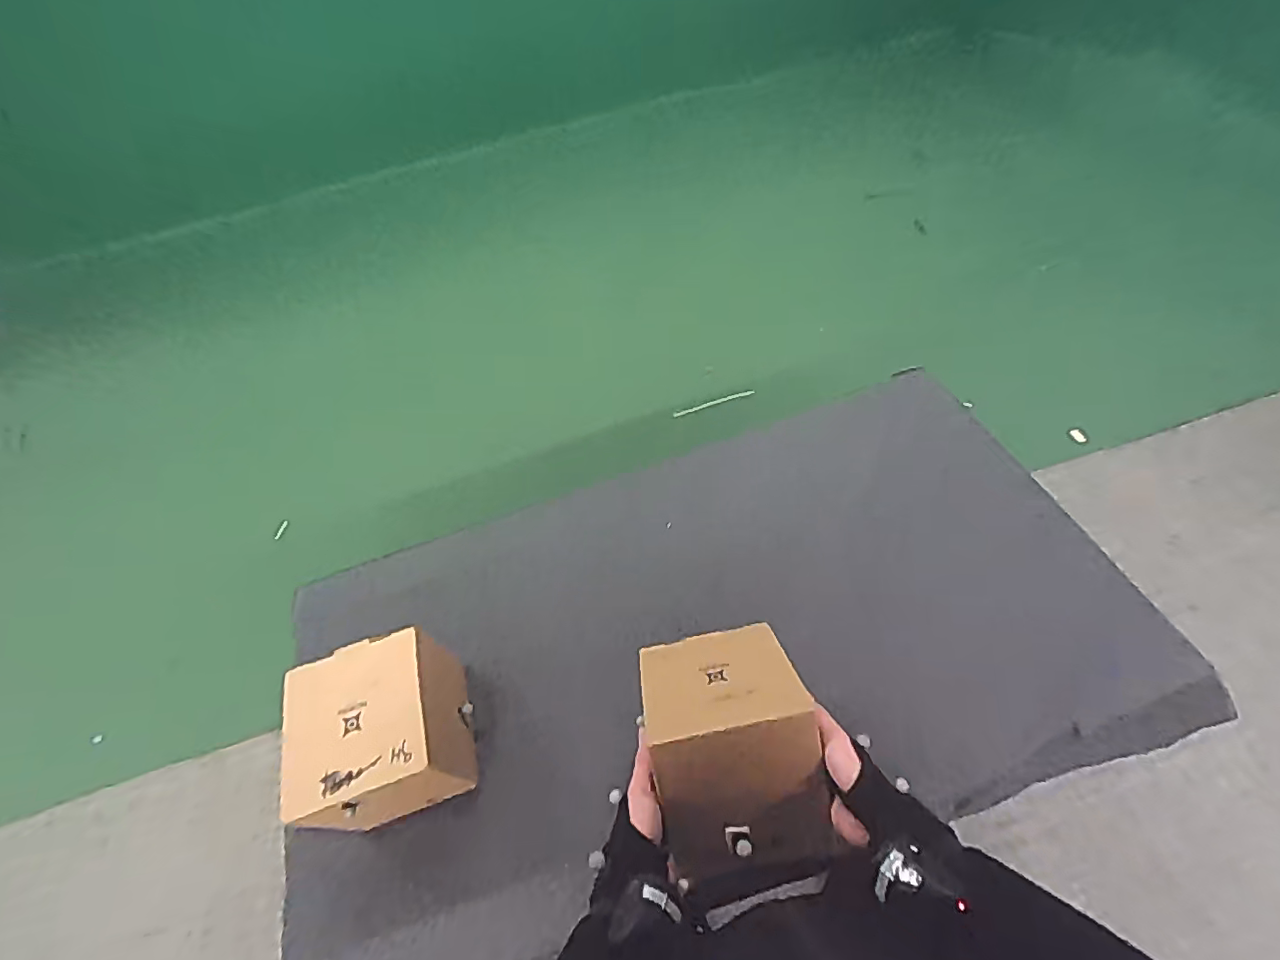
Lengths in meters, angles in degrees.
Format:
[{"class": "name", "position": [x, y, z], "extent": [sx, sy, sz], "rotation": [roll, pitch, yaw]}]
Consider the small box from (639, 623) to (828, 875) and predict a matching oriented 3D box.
[{"class": "small box", "position": [0.095, 0.289, 0.606], "extent": [0.168, 0.176, 0.179], "rotation": [-12, 14, 0]}]

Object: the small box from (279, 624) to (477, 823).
[{"class": "small box", "position": [-0.327, 0.318, 0.701], "extent": [0.168, 0.176, 0.179], "rotation": [-19, 55, -5]}]
